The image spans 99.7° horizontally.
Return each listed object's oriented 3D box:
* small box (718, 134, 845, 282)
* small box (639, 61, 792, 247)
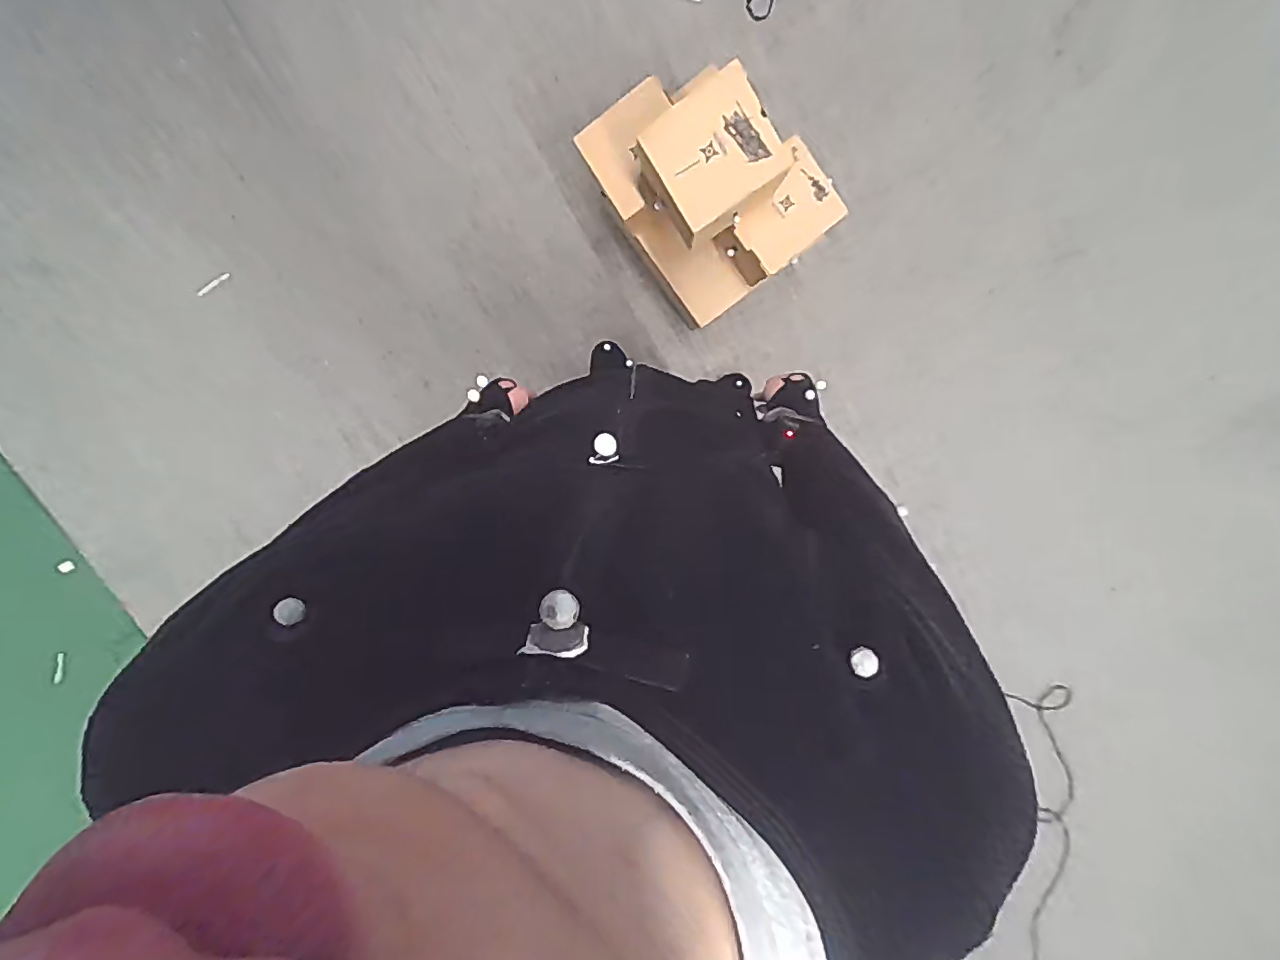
[{"bbox_3d":[0.253,-0.503,1.034,0.179,0.176,0.168,-37,100,10],"label":"small box"},{"bbox_3d":[0.115,-0.506,0.870,0.179,0.176,0.168,-31,100,12],"label":"small box"}]
